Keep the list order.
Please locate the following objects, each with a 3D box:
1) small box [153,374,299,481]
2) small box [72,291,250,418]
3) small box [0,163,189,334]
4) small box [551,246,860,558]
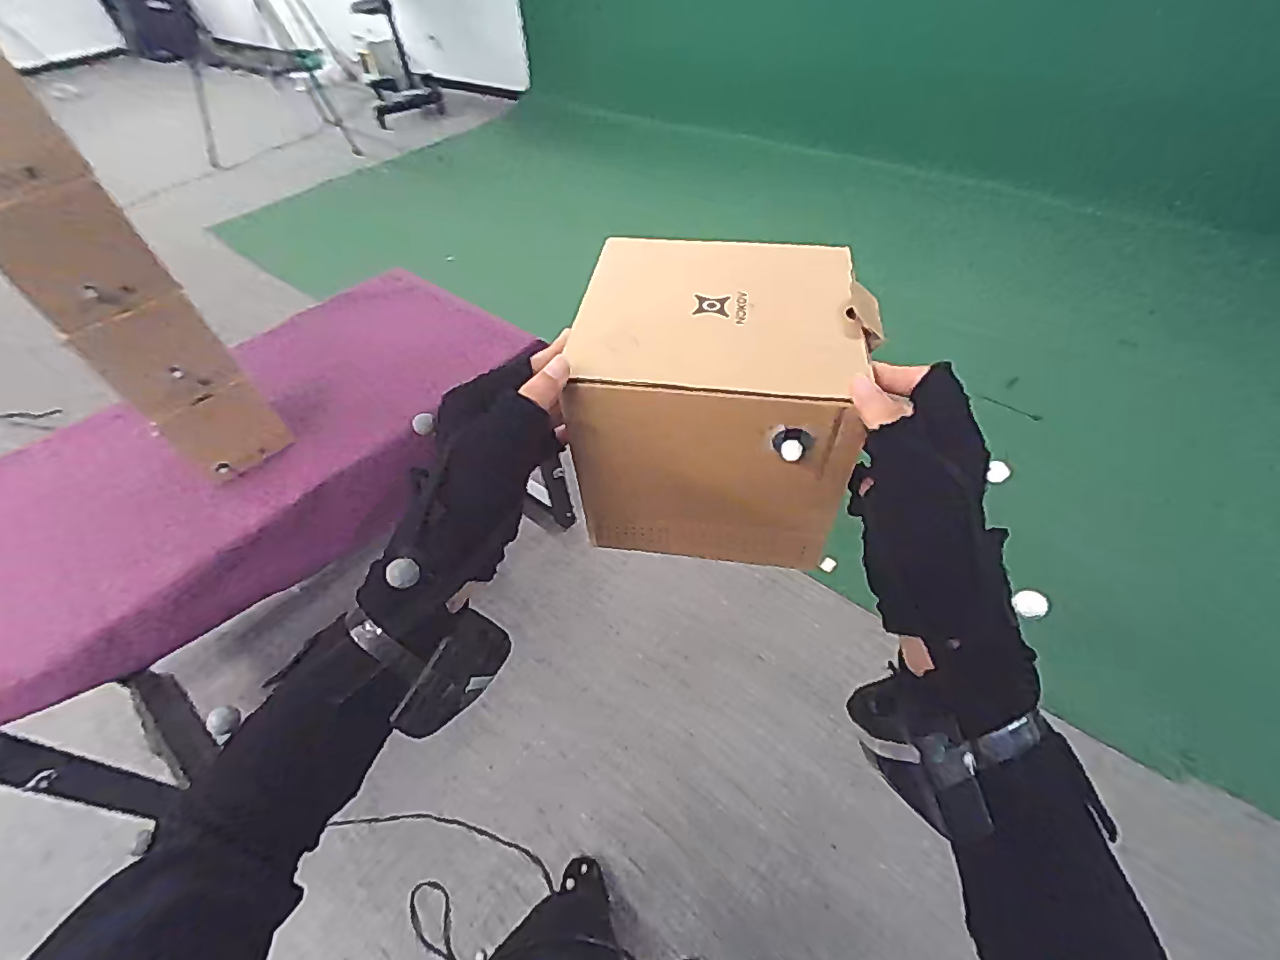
[{"bbox_3d":[-0.809,-0.123,1.047,0.179,0.176,0.168,32,58,29],"label":"small box"},{"bbox_3d":[-0.825,-0.234,0.927,0.179,0.176,0.168,32,58,28],"label":"small box"},{"bbox_3d":[-0.838,-0.344,0.807,0.179,0.176,0.168,32,58,28],"label":"small box"},{"bbox_3d":[0.048,-0.056,0.411,0.179,0.176,0.168,5,49,6],"label":"small box"}]
